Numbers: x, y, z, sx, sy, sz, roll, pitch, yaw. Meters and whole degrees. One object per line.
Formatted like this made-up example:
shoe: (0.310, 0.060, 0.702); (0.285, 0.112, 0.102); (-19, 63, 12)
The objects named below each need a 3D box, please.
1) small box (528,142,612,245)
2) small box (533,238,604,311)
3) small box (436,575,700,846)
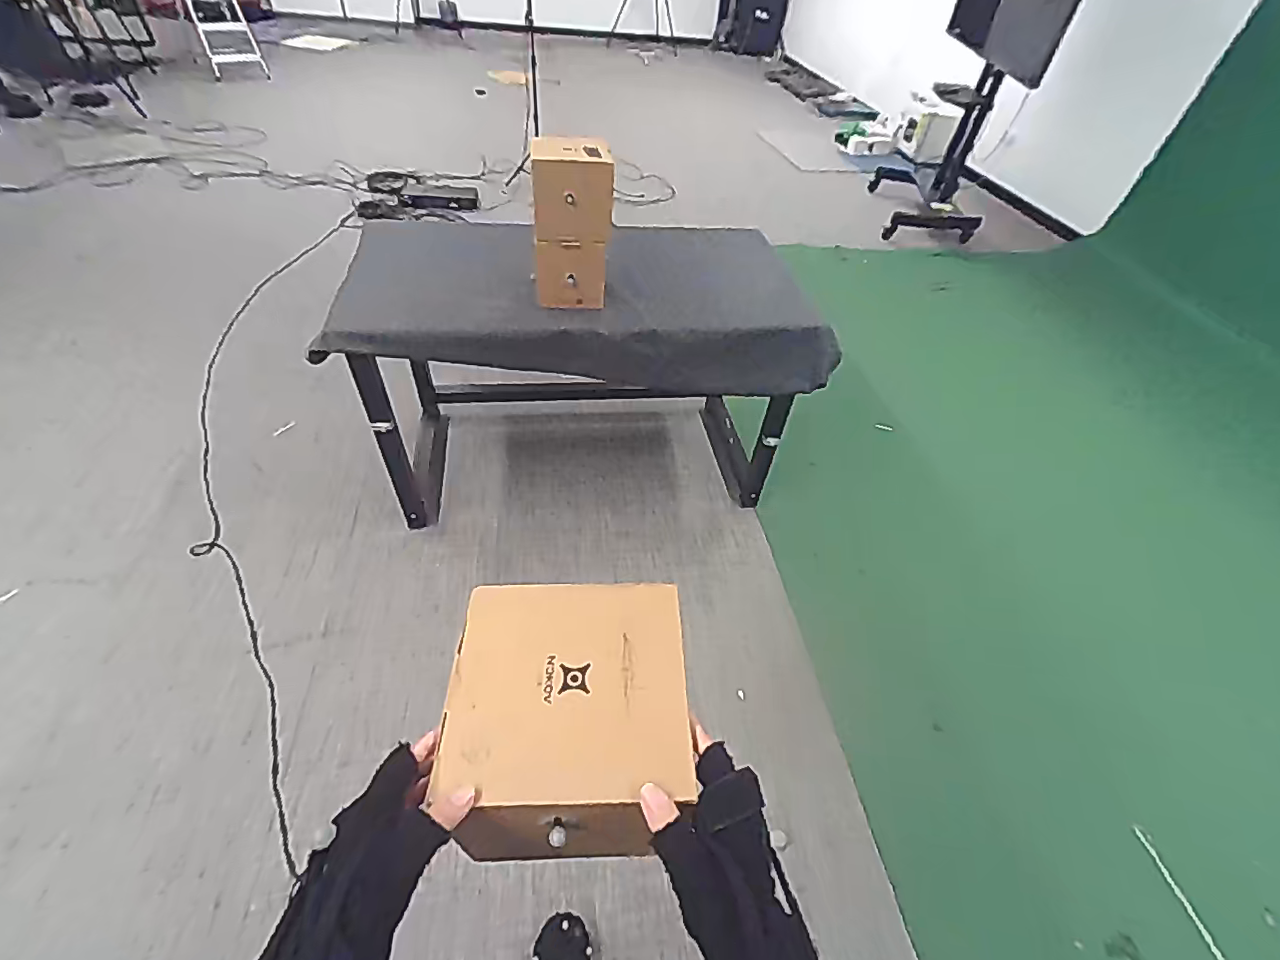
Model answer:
small box: (-0.159, -0.649, 1.231); (0.179, 0.176, 0.168); (-4, 46, -7)
small box: (-0.176, -0.537, 1.351); (0.168, 0.176, 0.179); (-3, 47, -8)
small box: (-0.051, 0.198, 0.462); (0.179, 0.176, 0.168); (-1, 46, -3)
